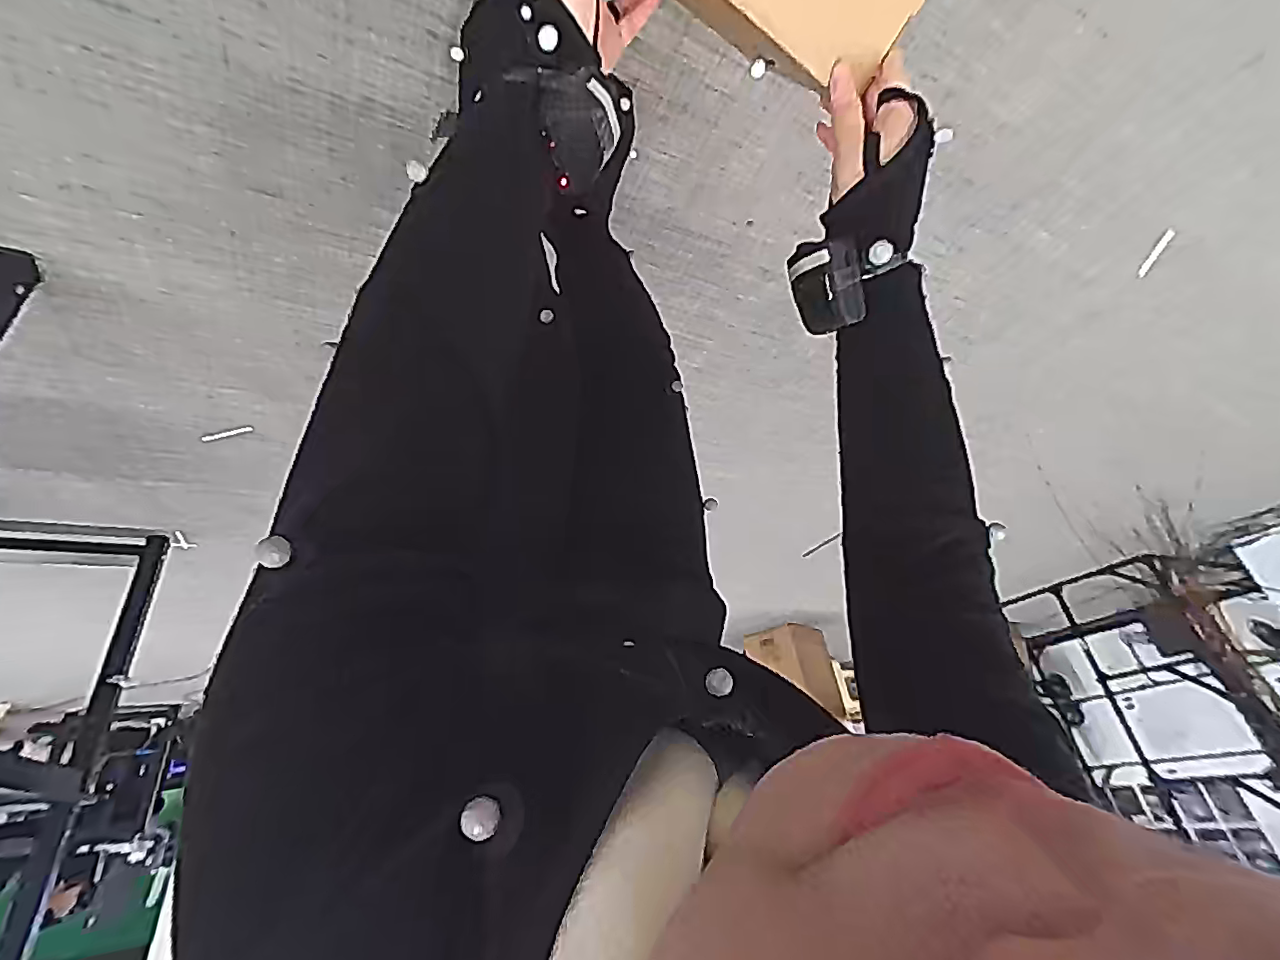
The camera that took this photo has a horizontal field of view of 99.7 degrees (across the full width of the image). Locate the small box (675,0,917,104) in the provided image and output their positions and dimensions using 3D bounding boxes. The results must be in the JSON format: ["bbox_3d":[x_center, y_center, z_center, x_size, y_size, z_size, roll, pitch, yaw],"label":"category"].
[{"bbox_3d":[0.095,-0.394,0.349,0.179,0.176,0.168,9,130,-35],"label":"small box"}]
